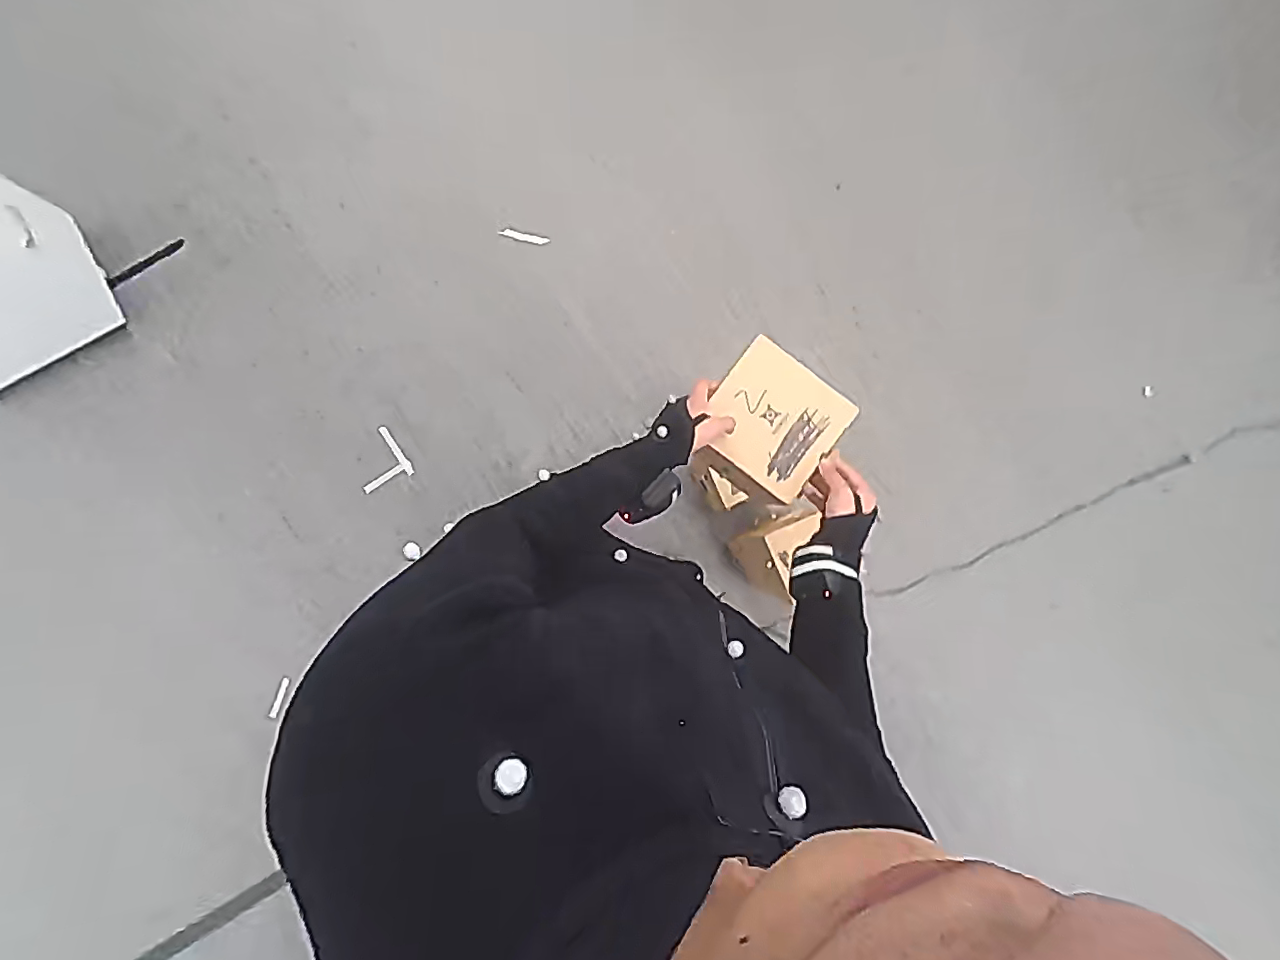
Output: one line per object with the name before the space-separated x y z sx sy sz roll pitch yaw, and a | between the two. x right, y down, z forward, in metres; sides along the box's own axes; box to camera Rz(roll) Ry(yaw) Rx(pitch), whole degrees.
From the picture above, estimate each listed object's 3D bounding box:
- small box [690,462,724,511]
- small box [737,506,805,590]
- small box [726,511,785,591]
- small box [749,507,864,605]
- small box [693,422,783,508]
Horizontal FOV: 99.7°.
small box | 0.264 -0.019 1.591 0.179 0.176 0.168 -26 85 -3
small box | 0.375 0.187 1.414 0.168 0.176 0.179 -29 86 -4
small box | 0.372 0.202 1.576 0.179 0.176 0.168 -31 86 -3
small box | 0.375 0.170 1.251 0.179 0.176 0.168 -22 85 -4
small box | 0.251 -0.033 1.428 0.168 0.176 0.179 -22 85 -3
